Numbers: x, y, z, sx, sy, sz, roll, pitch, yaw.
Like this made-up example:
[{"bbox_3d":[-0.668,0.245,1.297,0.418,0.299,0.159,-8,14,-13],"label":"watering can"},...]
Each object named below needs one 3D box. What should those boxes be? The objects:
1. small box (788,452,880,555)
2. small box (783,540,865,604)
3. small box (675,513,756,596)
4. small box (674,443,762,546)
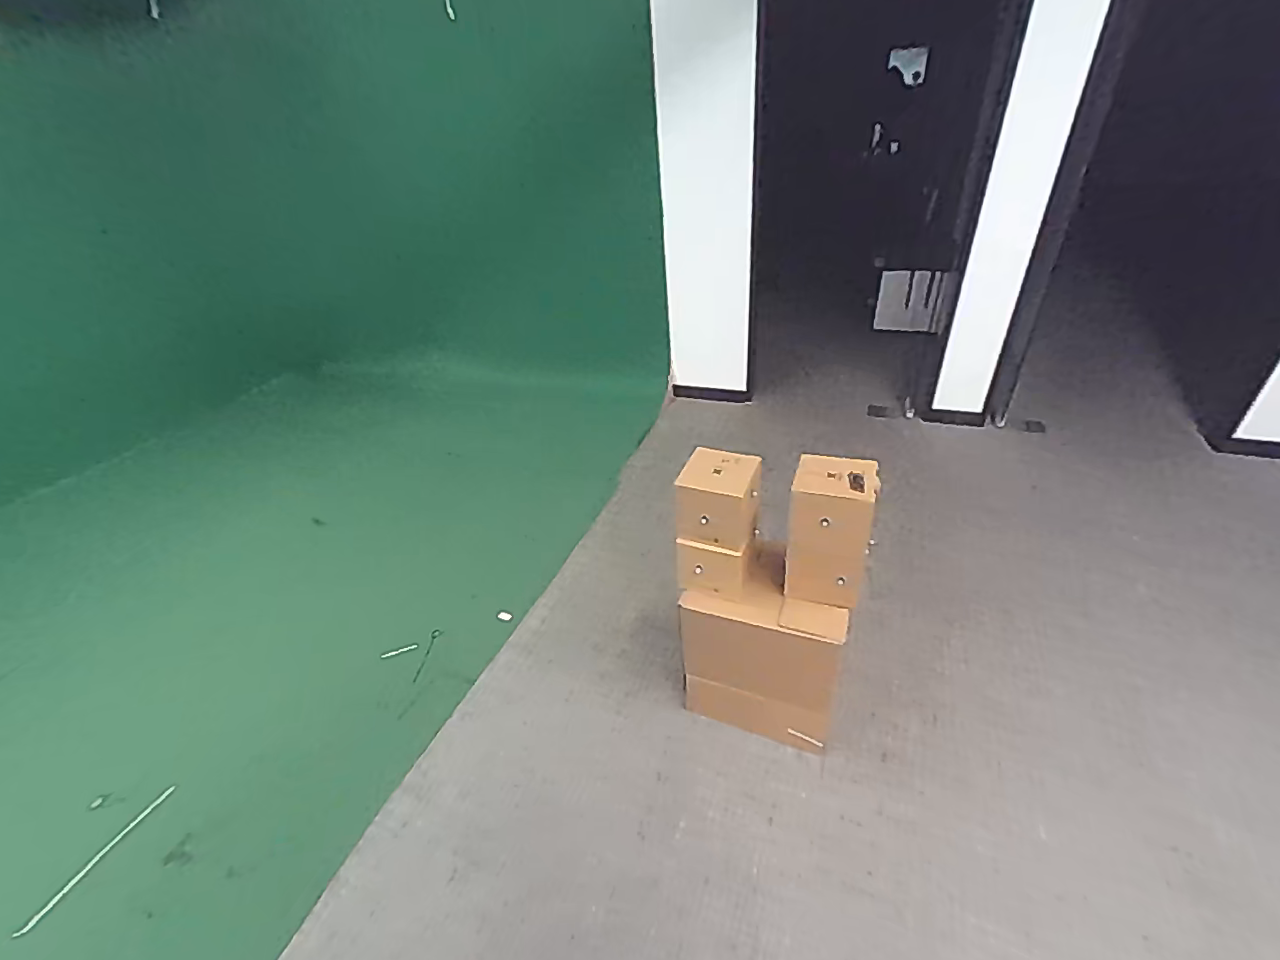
[{"bbox_3d":[0.454,0.056,1.273,0.179,0.176,0.168,9,37,22],"label":"small box"},{"bbox_3d":[0.466,0.190,1.368,0.179,0.176,0.168,8,37,21],"label":"small box"},{"bbox_3d":[0.201,0.177,1.418,0.168,0.176,0.179,12,39,21],"label":"small box"},{"bbox_3d":[0.195,0.036,1.332,0.168,0.176,0.179,13,39,22],"label":"small box"}]
